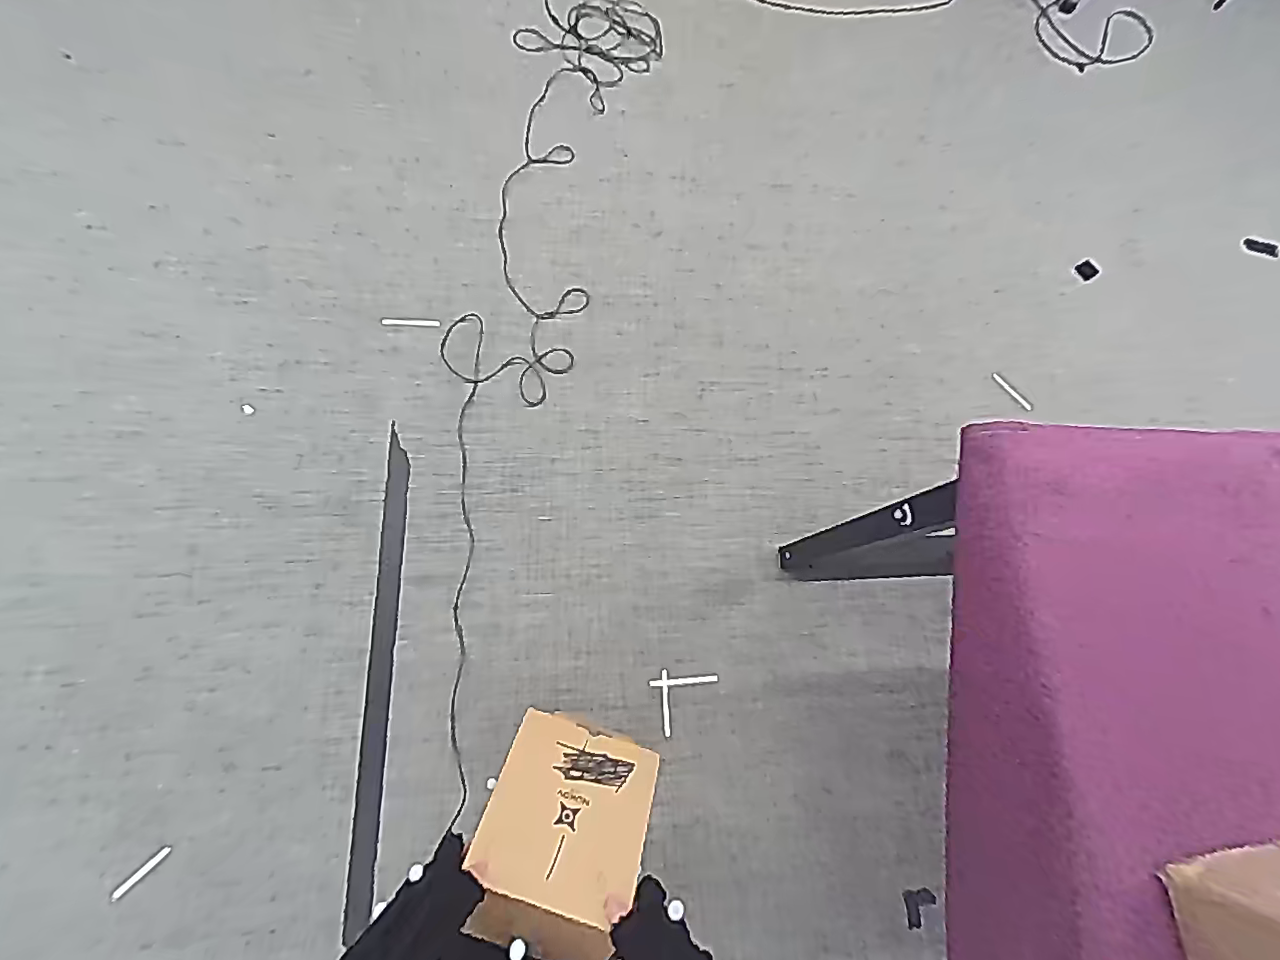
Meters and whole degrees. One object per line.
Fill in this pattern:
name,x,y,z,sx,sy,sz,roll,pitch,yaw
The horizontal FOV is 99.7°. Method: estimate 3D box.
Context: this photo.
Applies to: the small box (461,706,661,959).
small box,-0.089,0.397,0.606,0.168,0.176,0.179,18,37,2
